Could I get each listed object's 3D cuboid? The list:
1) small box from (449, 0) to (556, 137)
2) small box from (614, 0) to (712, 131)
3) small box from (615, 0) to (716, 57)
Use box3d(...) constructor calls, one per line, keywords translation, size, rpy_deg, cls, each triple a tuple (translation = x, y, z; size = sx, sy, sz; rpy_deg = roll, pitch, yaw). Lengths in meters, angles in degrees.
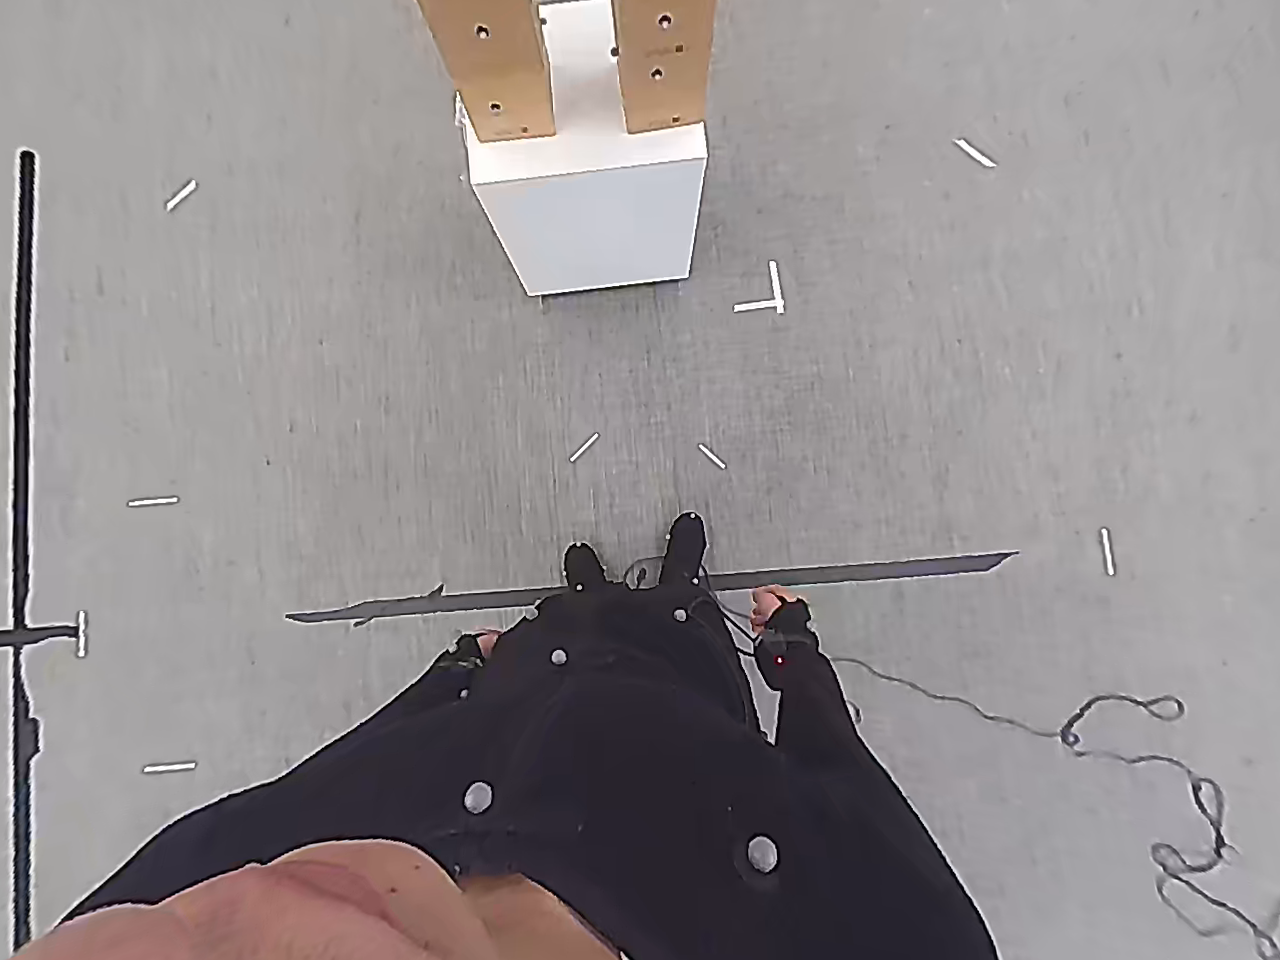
box3d(translation=(-0.266, -0.816, 1.075), size=(0.168, 0.176, 0.179), rpy_deg=(-6, 84, 0), cls="small box")
box3d(translation=(0.041, -0.837, 1.068), size=(0.168, 0.176, 0.179), rpy_deg=(-8, 84, 2), cls="small box")
box3d(translation=(0.037, -0.852, 0.903), size=(0.168, 0.176, 0.179), rpy_deg=(-8, 85, 1), cls="small box")
